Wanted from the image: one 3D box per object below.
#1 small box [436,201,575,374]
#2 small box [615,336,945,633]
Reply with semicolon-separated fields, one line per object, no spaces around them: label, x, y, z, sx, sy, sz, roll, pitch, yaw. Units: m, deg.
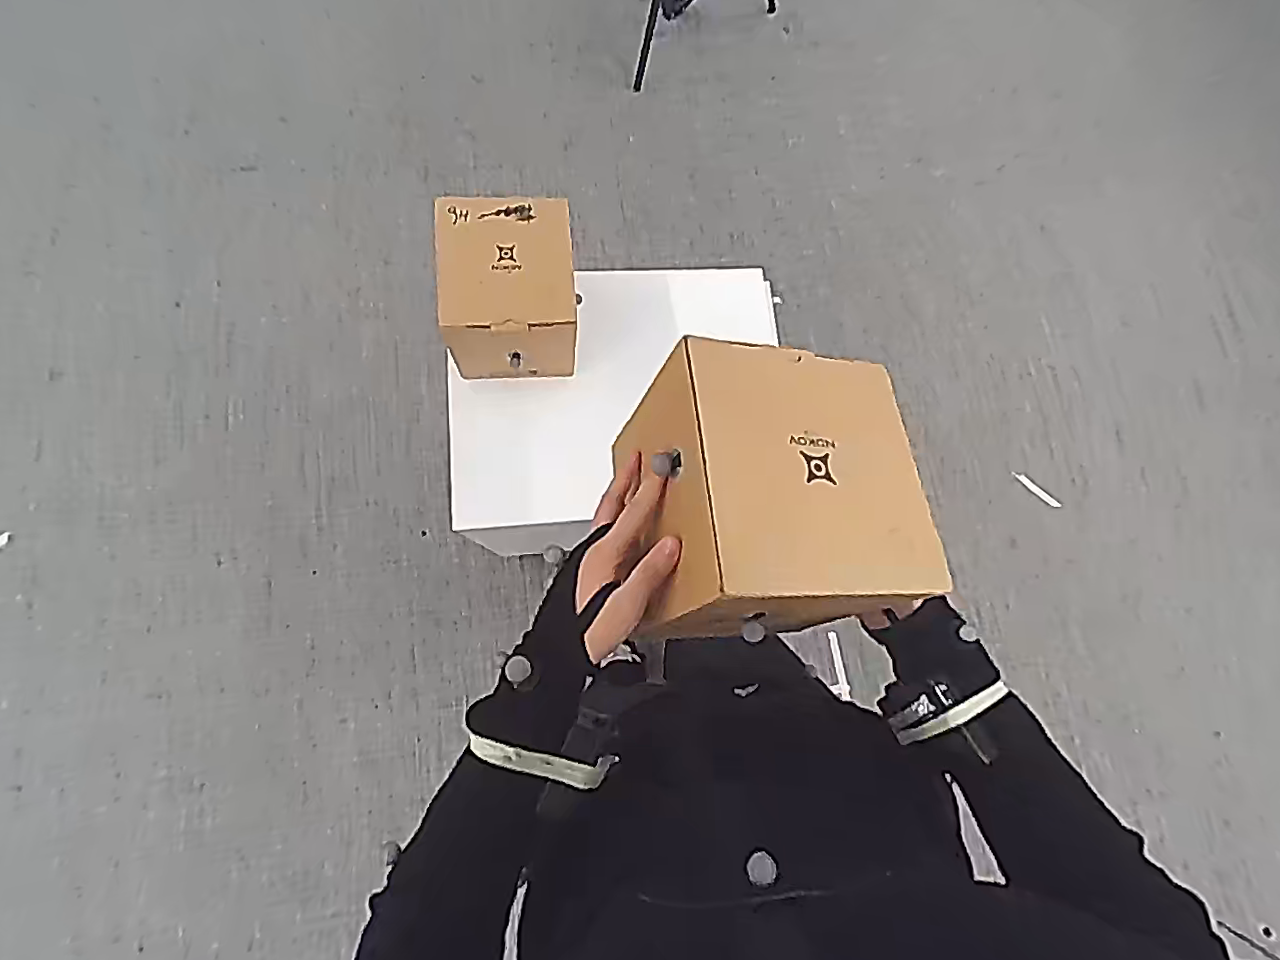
small box;-0.176;-0.251;0.743;0.168;0.176;0.179;-4;81;-9
small box;0.085;0.019;0.419;0.168;0.176;0.179;3;65;-20
